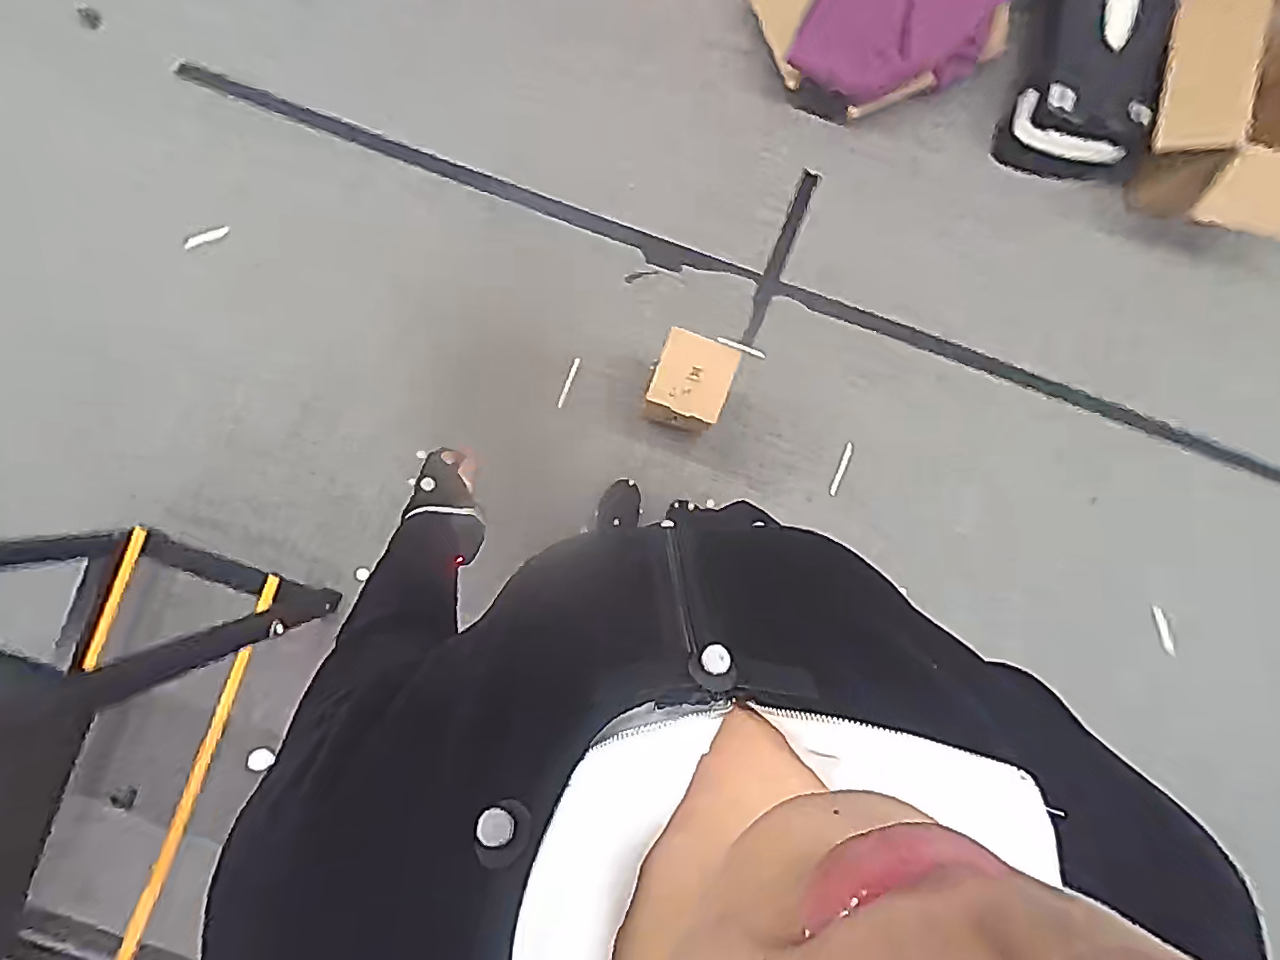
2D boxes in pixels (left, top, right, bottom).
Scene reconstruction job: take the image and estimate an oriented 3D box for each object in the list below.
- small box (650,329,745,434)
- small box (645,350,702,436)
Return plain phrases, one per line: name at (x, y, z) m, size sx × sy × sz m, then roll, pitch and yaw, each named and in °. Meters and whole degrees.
small box at (0.124, -0.220, 1.259) m, size 0.168 × 0.176 × 0.179 m, roll 22°, pitch 90°, yaw 0°
small box at (0.118, -0.221, 1.424) m, size 0.179 × 0.176 × 0.168 m, roll 18°, pitch 90°, yaw -1°
